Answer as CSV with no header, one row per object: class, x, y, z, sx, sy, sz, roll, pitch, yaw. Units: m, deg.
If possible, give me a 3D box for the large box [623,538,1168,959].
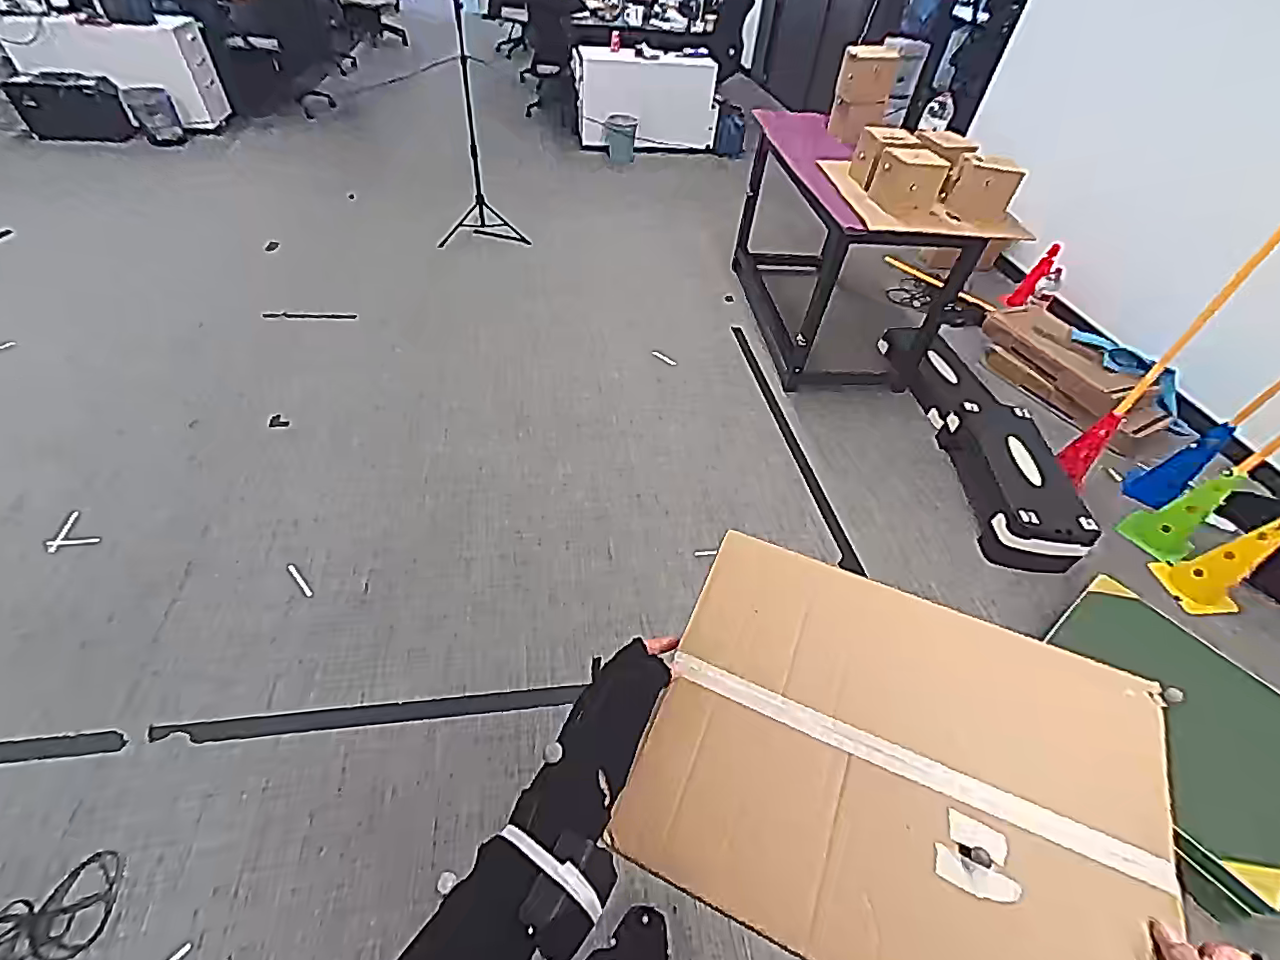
large box,0.228,0.323,0.593,0.408,0.320,0.320,20,60,15
